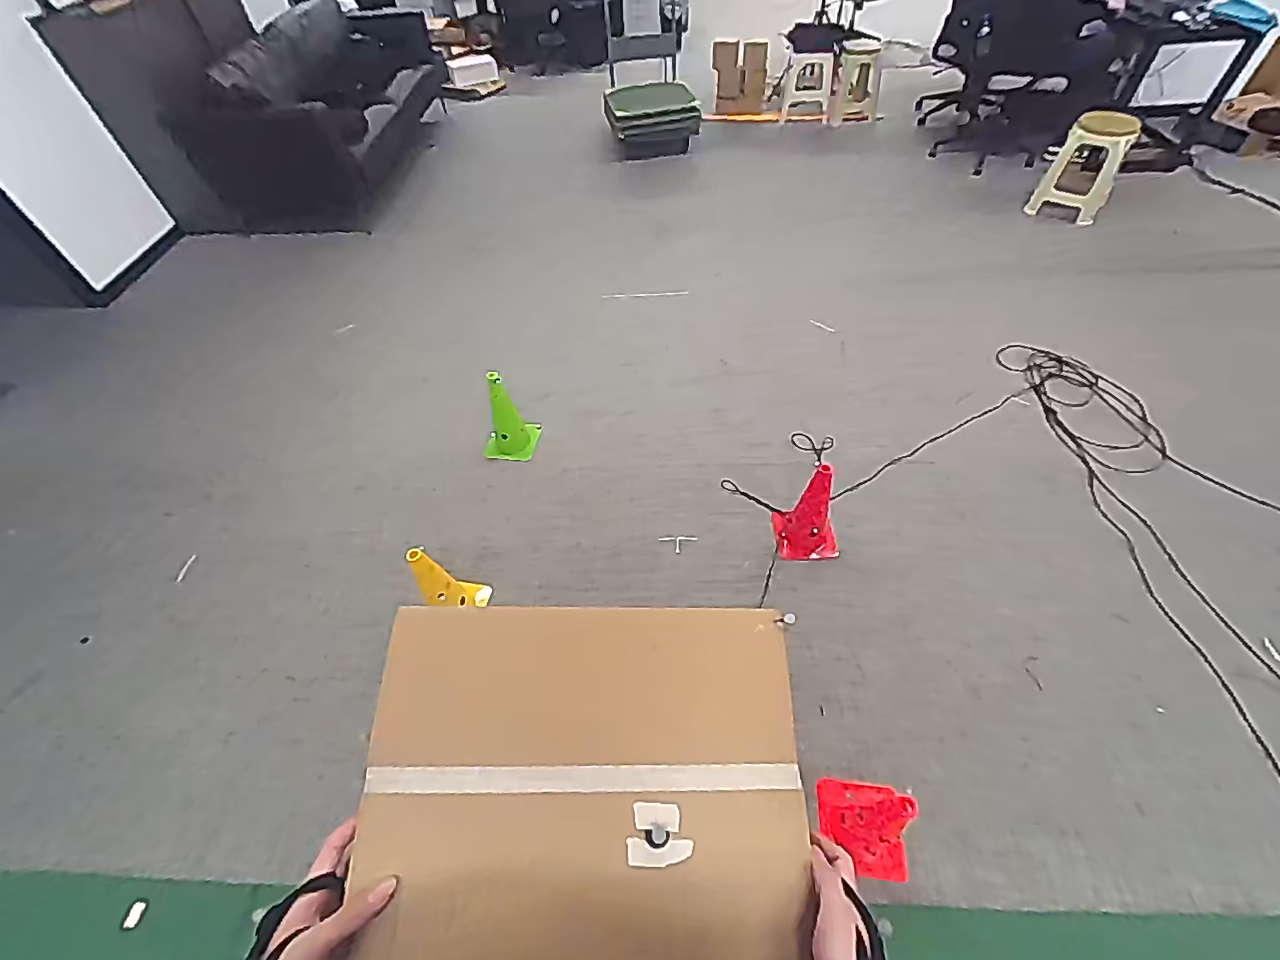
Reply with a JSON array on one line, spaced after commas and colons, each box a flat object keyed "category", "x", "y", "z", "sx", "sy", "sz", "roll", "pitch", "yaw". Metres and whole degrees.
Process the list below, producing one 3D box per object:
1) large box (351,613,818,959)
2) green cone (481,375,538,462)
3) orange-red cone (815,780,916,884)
[{"category": "large box", "x": -0.056, "y": 0.346, "z": 0.647, "sx": 0.408, "sy": 0.320, "sz": 0.320, "roll": 1, "pitch": 66, "yaw": -3}, {"category": "green cone", "x": -0.543, "y": -0.260, "z": 2.082, "sx": 0.200, "sy": 0.368, "sz": 0.202, "roll": 4, "pitch": 53, "yaw": 7}, {"category": "orange-red cone", "x": 0.530, "y": 0.758, "z": 1.200, "sx": 0.199, "sy": 0.360, "sz": 0.198, "roll": 6, "pitch": 53, "yaw": 6}]
